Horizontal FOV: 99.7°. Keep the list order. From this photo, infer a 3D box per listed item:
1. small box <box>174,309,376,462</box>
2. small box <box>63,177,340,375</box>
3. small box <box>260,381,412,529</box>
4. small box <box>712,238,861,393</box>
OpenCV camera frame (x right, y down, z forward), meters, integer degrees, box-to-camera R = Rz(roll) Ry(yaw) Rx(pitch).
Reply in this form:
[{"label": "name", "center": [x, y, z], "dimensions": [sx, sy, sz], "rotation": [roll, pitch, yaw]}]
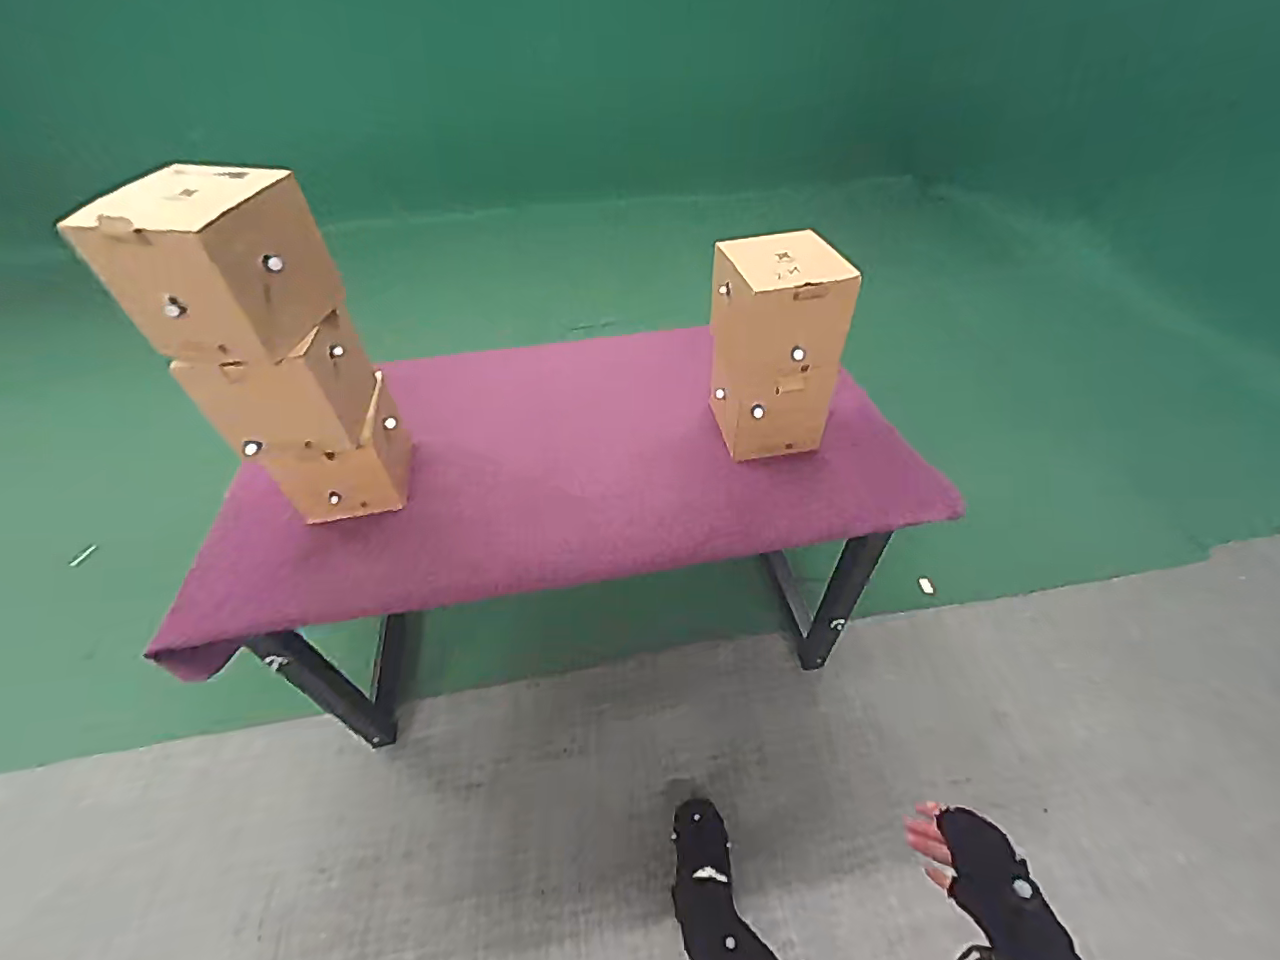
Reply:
[{"label": "small box", "center": [-0.513, -0.140, 0.795], "dimensions": [0.168, 0.176, 0.179], "rotation": [-6, 48, -4]}, {"label": "small box", "center": [-0.516, -0.251, 0.674], "dimensions": [0.168, 0.176, 0.179], "rotation": [8, 50, 7]}, {"label": "small box", "center": [-0.503, -0.043, 0.928], "dimensions": [0.168, 0.176, 0.179], "rotation": [-10, 49, -7]}, {"label": "small box", "center": [0.222, -0.267, 0.877], "dimensions": [0.168, 0.176, 0.179], "rotation": [-11, 48, -7]}]
